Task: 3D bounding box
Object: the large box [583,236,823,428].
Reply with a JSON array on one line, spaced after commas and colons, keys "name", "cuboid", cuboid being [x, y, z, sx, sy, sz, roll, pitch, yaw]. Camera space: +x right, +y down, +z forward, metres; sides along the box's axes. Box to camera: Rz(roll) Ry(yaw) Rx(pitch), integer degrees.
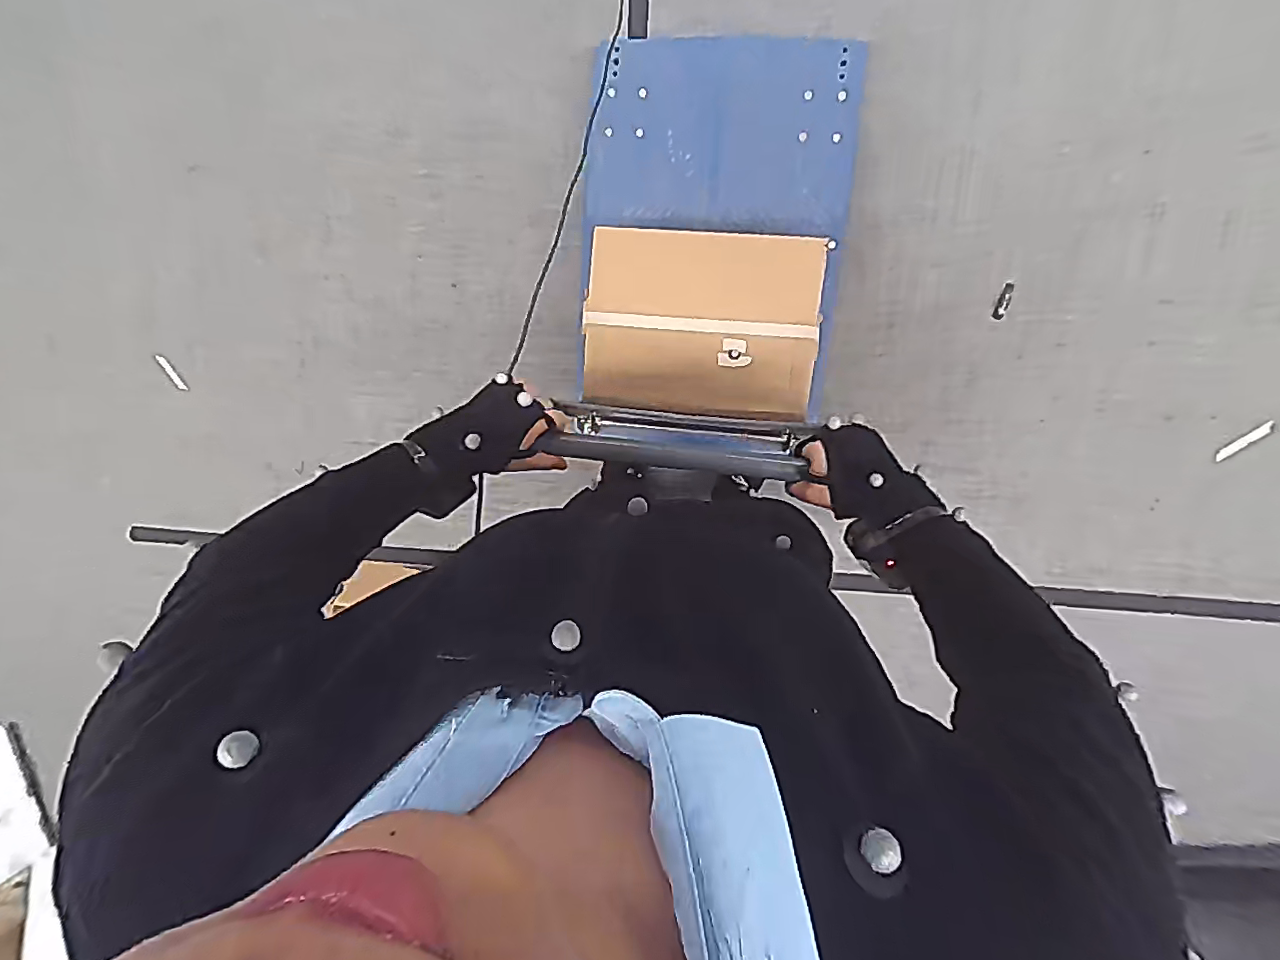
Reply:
[{"name": "large box", "cuboid": [0.118, -0.278, 1.098, 0.408, 0.320, 0.320, 6, 99, 6]}]
